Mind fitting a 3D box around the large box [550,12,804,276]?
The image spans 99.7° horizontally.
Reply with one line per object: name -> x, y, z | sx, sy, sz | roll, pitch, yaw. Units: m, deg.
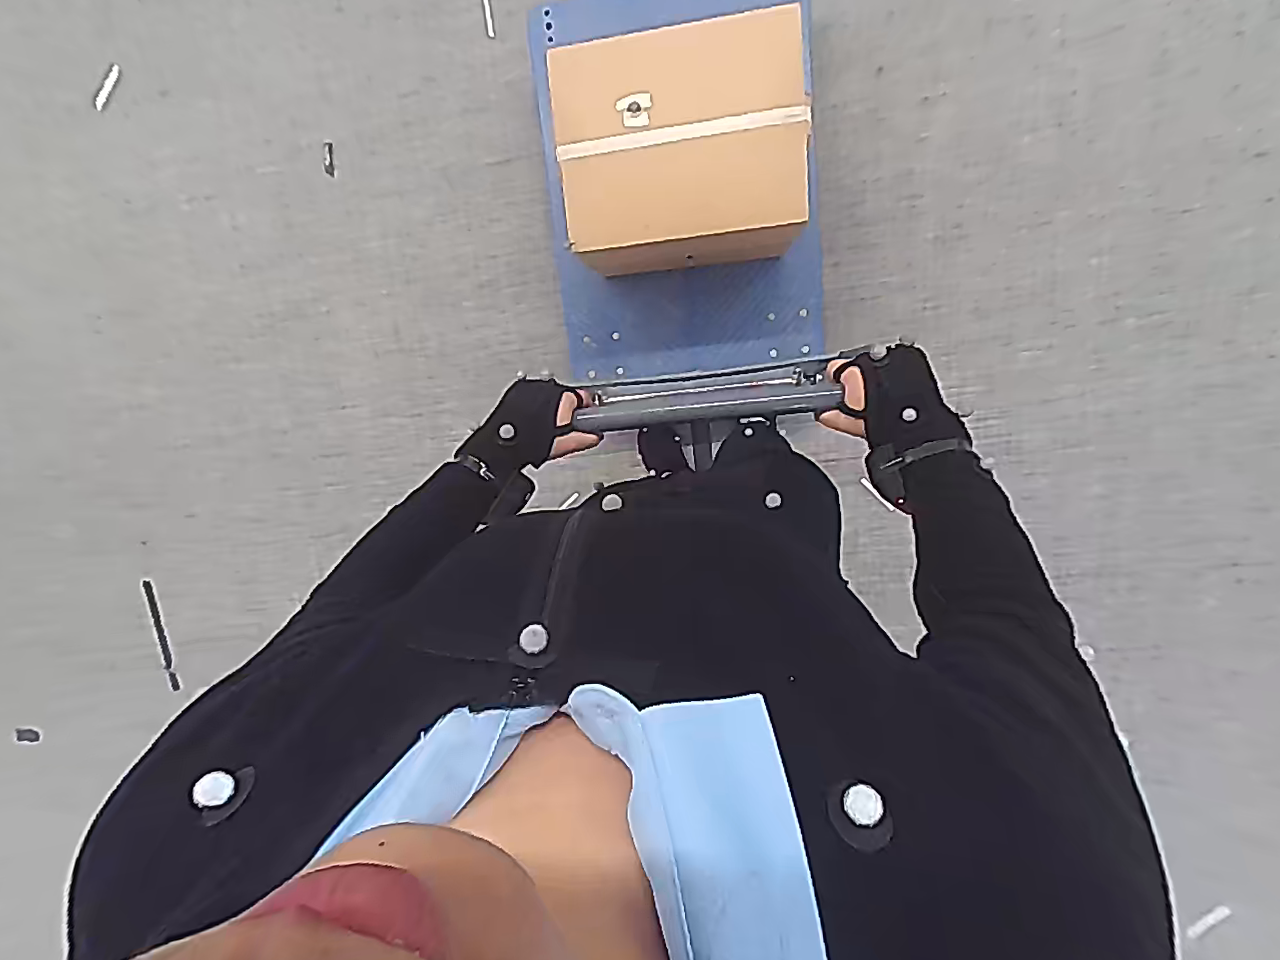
large box -> 0.082, -0.599, 1.046 | 0.408, 0.320, 0.320 | -4, 101, 9
